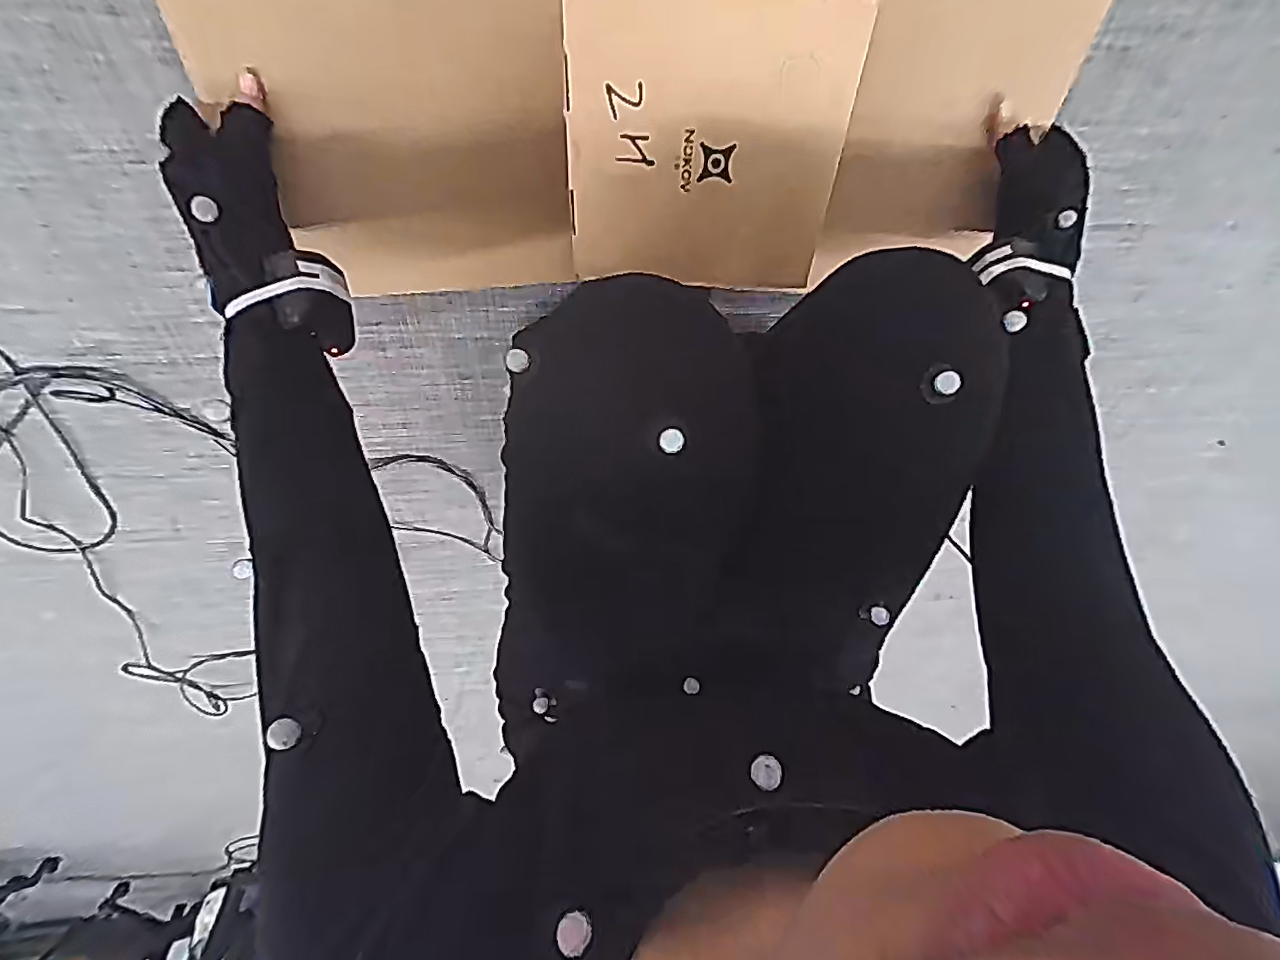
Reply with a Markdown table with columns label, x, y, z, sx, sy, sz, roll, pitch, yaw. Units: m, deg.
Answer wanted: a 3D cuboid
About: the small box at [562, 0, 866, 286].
| label | x | y | z | sx | sy | sz | roll | pitch | yaw |
| --- | --- | --- | --- | --- | --- | --- | --- | --- | --- |
| small box | 0.039 | -0.267 | 0.414 | 0.179 | 0.176 | 0.168 | 3 | 134 | -1 |
